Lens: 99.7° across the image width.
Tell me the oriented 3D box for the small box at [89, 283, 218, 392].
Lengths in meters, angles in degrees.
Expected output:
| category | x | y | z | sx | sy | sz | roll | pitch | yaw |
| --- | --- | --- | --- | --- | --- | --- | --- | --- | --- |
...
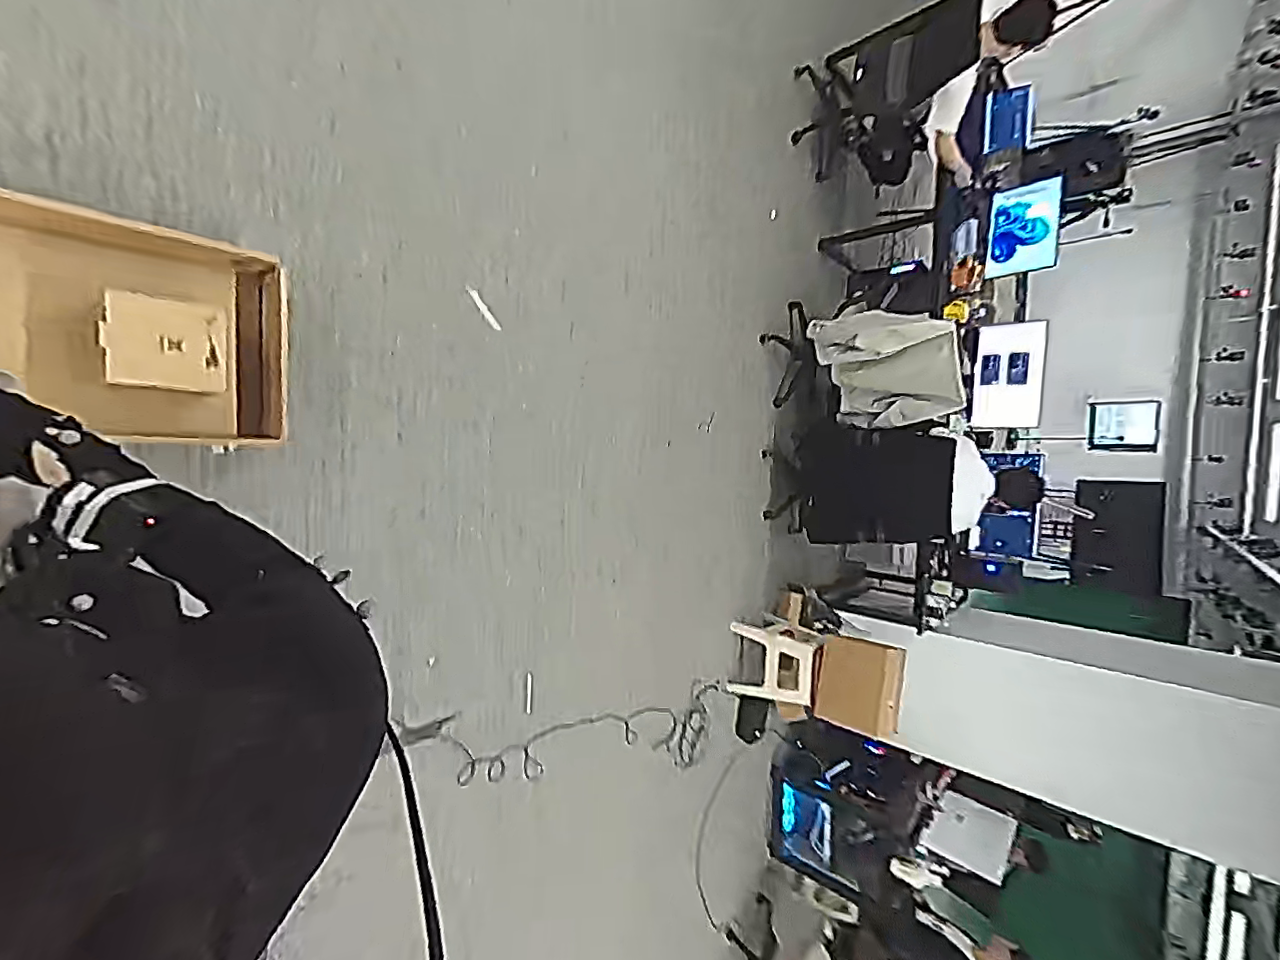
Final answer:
| category | x | y | z | sx | sy | sz | roll | pitch | yaw |
| --- | --- | --- | --- | --- | --- | --- | --- | --- | --- |
| small box | -0.945 | -0.264 | 1.050 | 0.179 | 0.176 | 0.168 | 0 | 94 | -47 |
